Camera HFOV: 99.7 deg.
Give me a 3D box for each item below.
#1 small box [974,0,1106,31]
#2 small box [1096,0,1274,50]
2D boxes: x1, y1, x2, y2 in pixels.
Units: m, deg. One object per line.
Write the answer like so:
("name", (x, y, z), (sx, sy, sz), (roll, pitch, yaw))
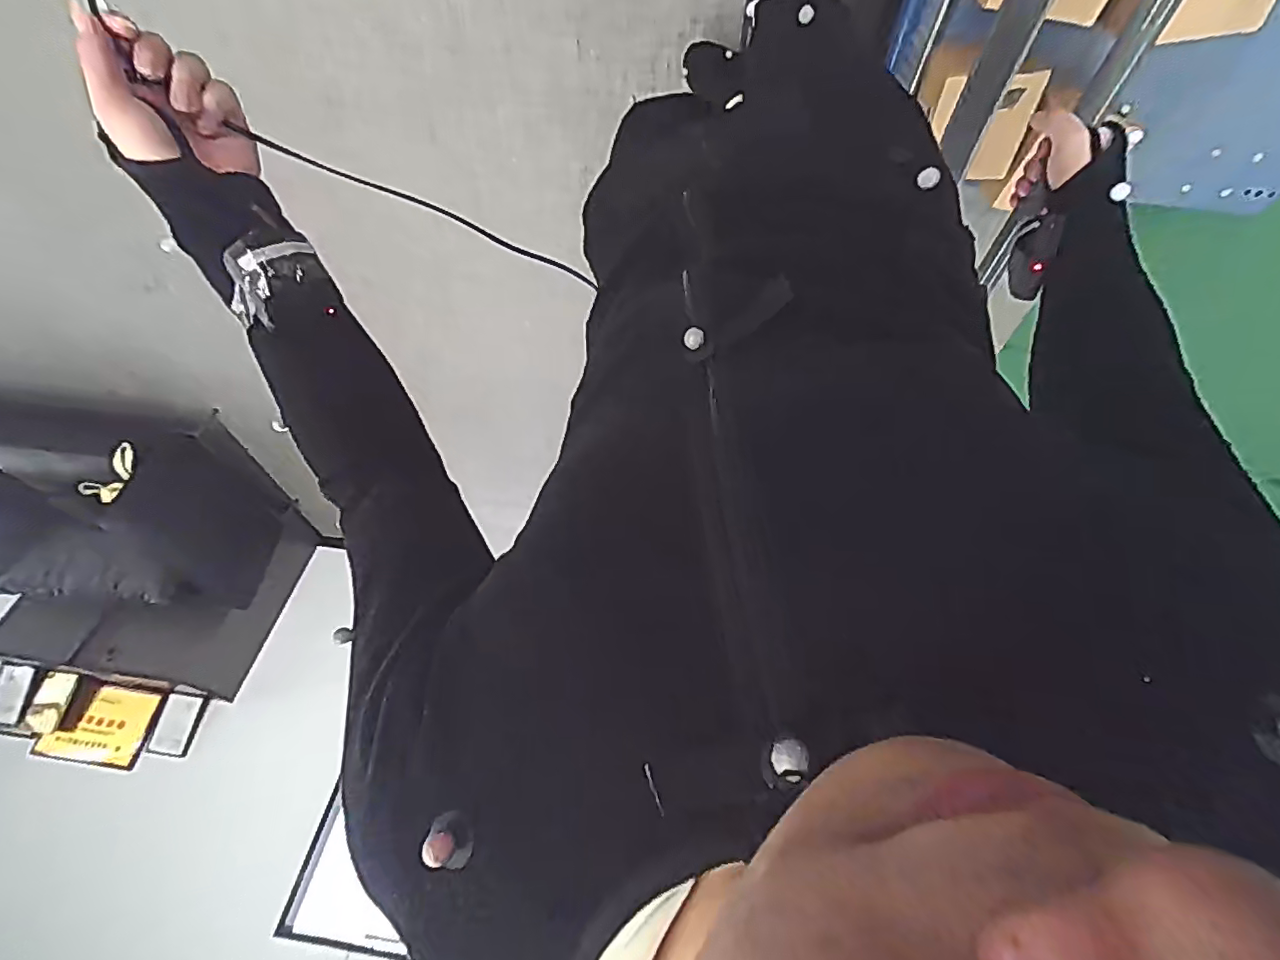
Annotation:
("small box", (0.642, -0.835, 0.831), (0.179, 0.176, 0.168), (11, 145, 0))
("small box", (0.853, -0.795, 0.827), (0.179, 0.176, 0.168), (1, 144, 13))
